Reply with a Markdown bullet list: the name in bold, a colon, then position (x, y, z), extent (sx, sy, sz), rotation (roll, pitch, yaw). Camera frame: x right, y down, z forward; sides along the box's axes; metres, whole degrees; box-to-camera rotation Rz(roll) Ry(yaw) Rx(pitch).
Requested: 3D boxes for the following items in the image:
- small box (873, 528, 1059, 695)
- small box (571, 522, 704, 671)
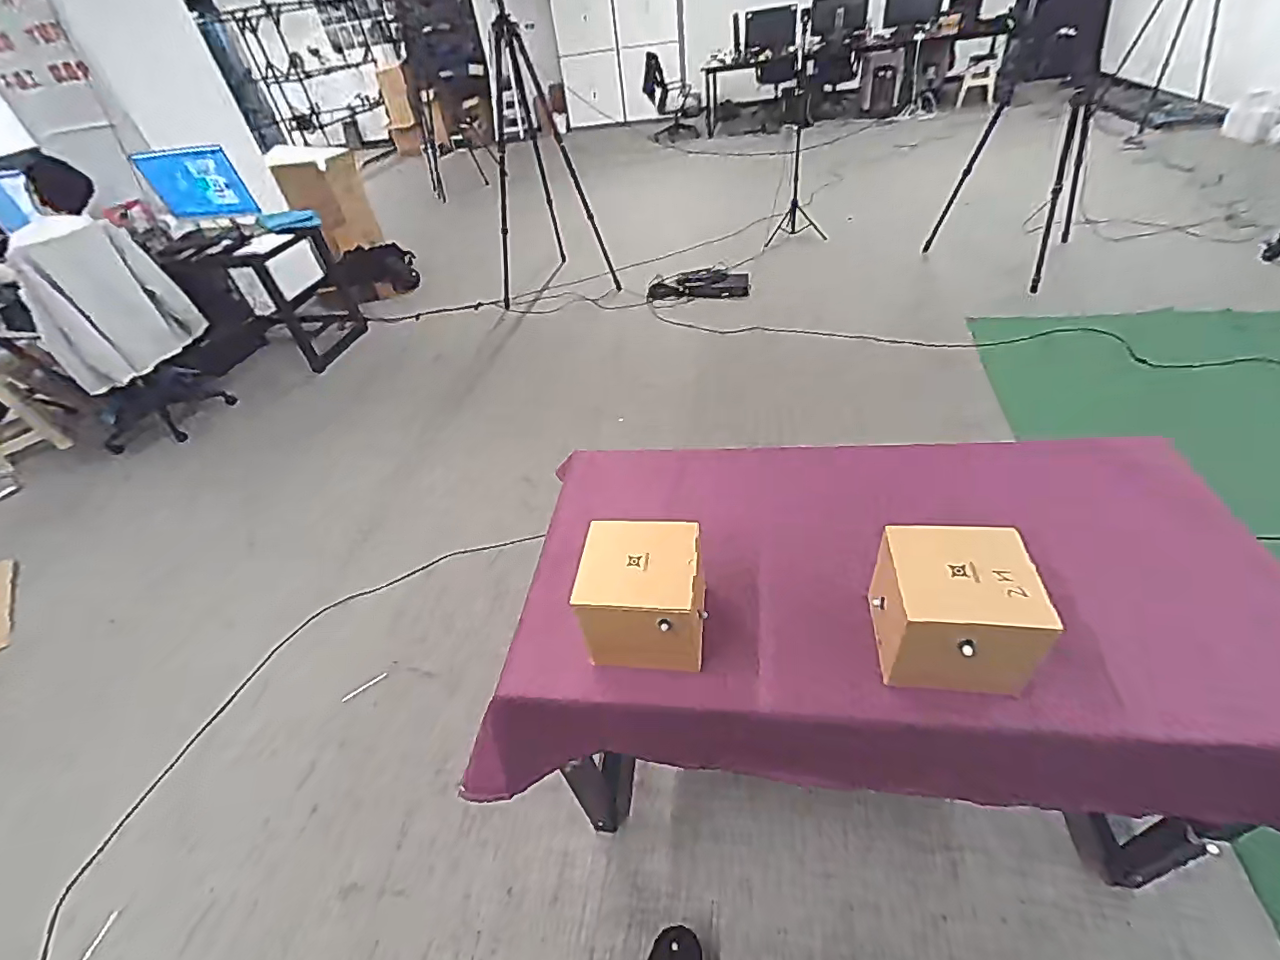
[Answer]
- **small box**: position (0.440, 0.187, 0.769), extent (0.179, 0.176, 0.168), rotation (1, 43, 12)
- **small box**: position (0.007, 0.184, 0.853), extent (0.179, 0.176, 0.168), rotation (1, 42, 9)
